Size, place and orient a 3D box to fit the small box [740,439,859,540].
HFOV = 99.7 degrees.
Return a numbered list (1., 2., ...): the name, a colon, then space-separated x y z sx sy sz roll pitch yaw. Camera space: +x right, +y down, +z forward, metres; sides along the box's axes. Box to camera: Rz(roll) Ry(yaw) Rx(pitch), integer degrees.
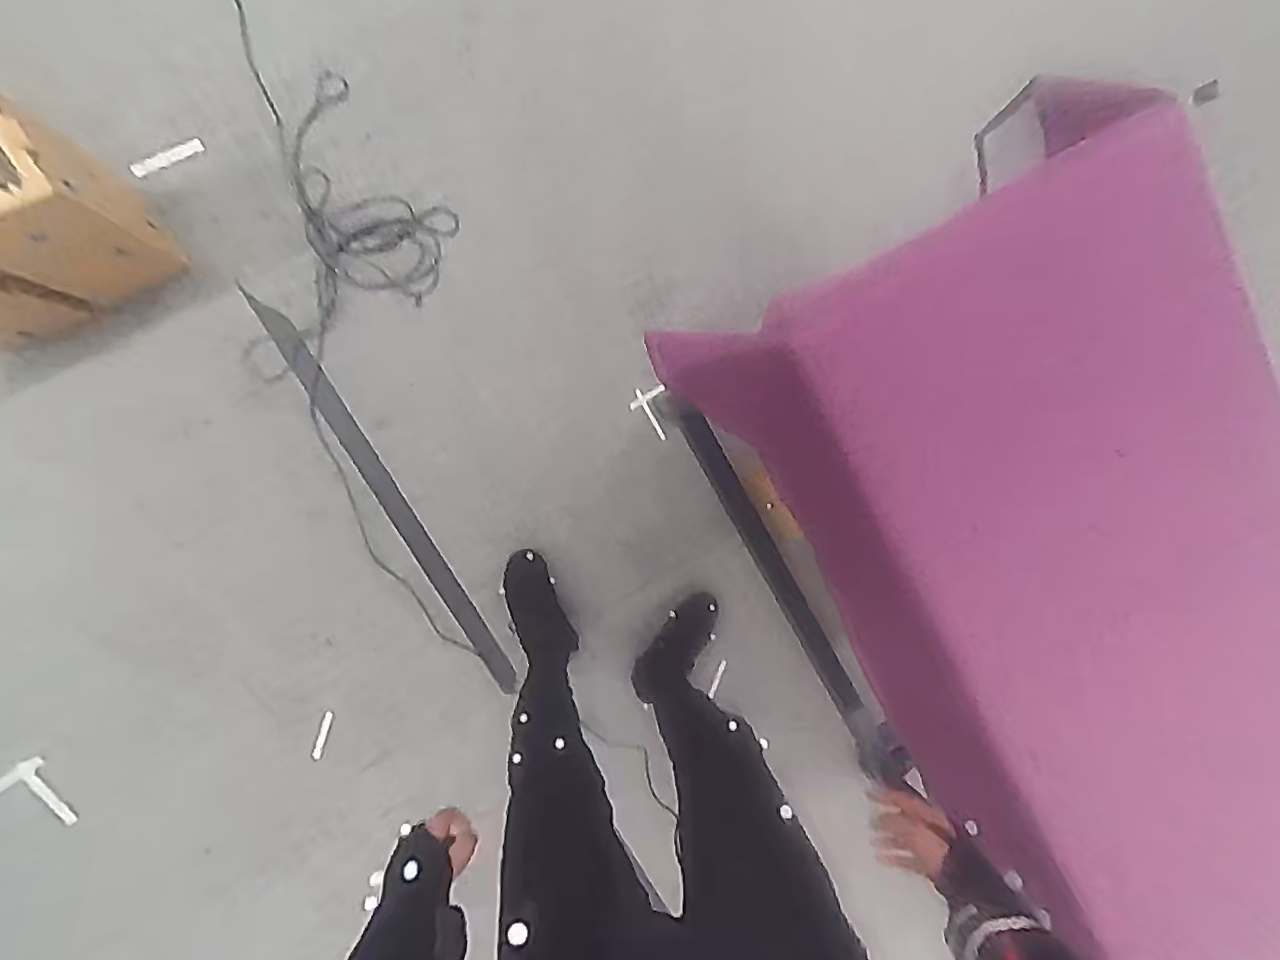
1. small box: 0.369 0.017 1.281 0.179 0.176 0.168 -35 98 -9
